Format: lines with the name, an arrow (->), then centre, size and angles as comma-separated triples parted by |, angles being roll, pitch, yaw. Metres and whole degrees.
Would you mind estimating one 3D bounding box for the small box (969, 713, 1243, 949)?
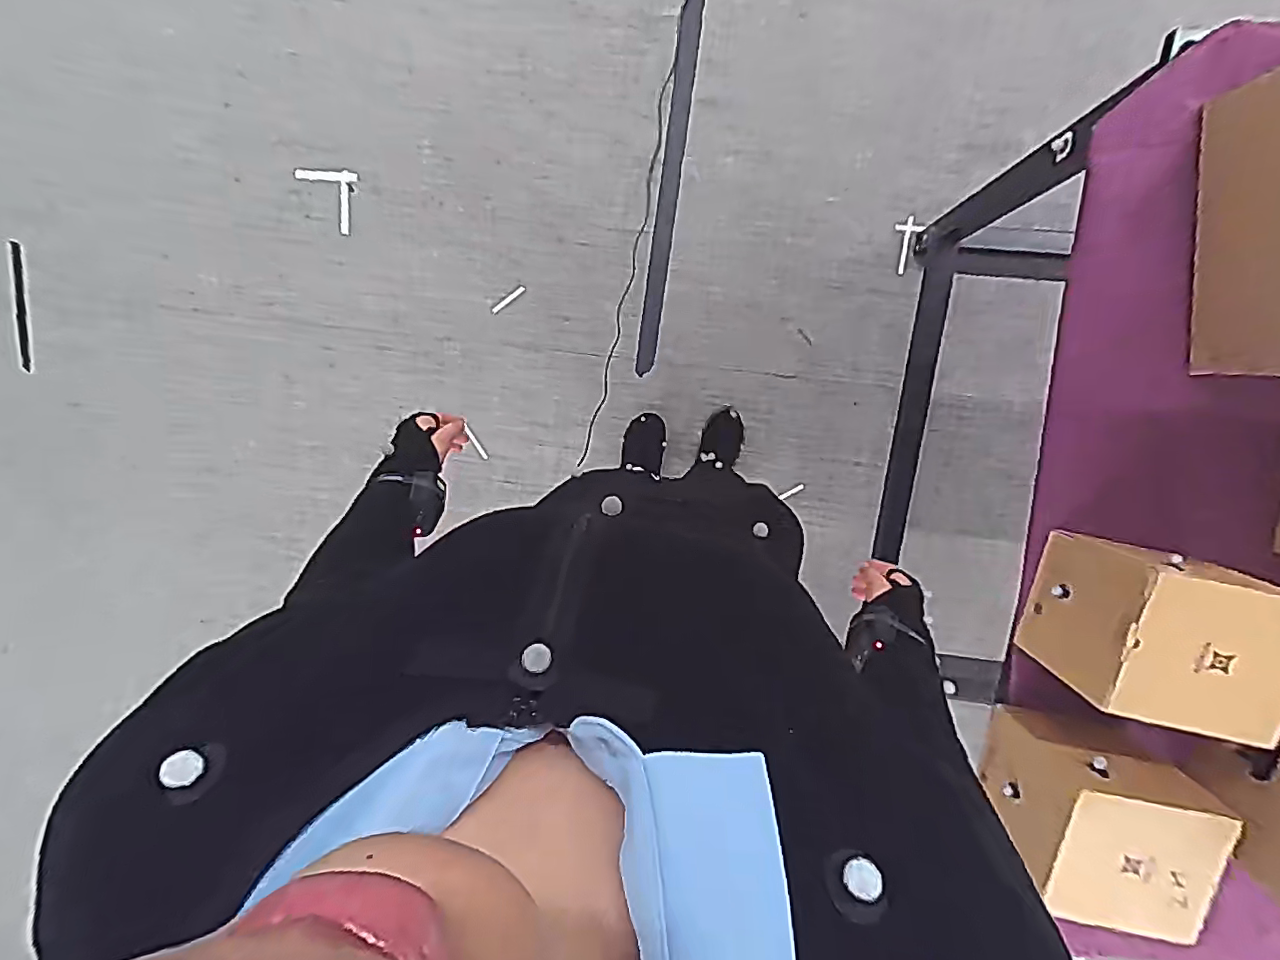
small box -> 0.554, 0.420, 0.675 | 0.179, 0.176, 0.168 | 10, 101, 2
